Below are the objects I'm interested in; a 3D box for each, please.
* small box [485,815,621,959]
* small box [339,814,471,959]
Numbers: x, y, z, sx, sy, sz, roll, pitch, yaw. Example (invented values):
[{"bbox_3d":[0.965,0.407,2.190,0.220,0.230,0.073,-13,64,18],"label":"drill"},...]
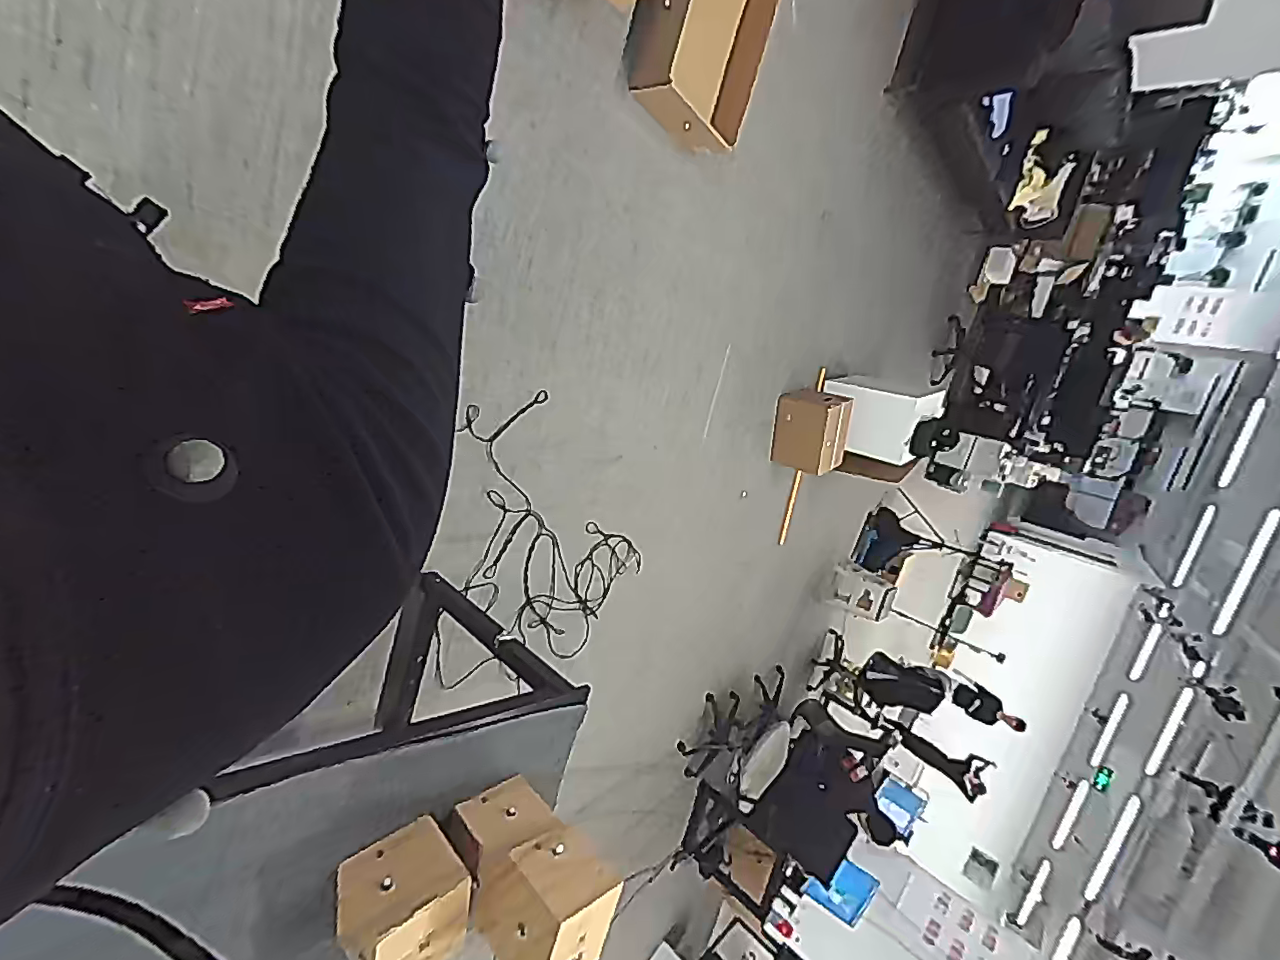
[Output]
[{"bbox_3d":[-0.170,0.791,1.030,0.168,0.176,0.179,11,99,-50],"label":"small box"},{"bbox_3d":[-0.428,0.749,0.978,0.168,0.176,0.179,-7,114,-46],"label":"small box"}]
